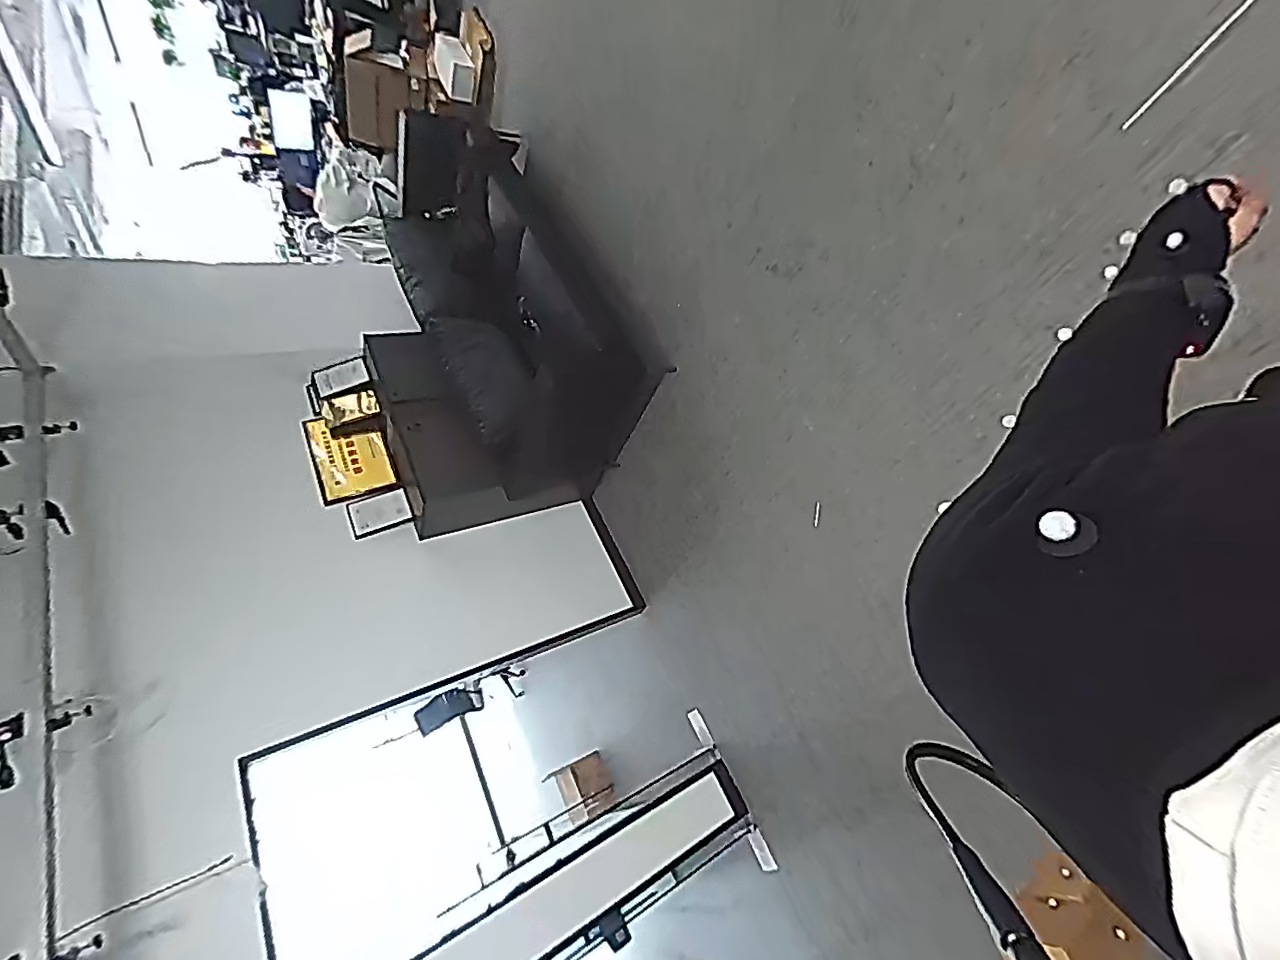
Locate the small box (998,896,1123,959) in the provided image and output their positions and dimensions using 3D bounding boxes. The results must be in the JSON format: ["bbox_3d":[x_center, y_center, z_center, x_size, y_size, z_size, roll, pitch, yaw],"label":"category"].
[{"bbox_3d":[0.959,1.087,1.206,0.168,0.176,0.179,-43,65,53],"label":"small box"}]

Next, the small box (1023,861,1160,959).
[{"bbox_3d":[1.087,1.058,1.304,0.179,0.176,0.168,65,146,18],"label":"small box"}]

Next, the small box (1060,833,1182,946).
[{"bbox_3d":[1.228,1.033,1.382,0.179,0.176,0.168,-46,61,51],"label":"small box"}]
